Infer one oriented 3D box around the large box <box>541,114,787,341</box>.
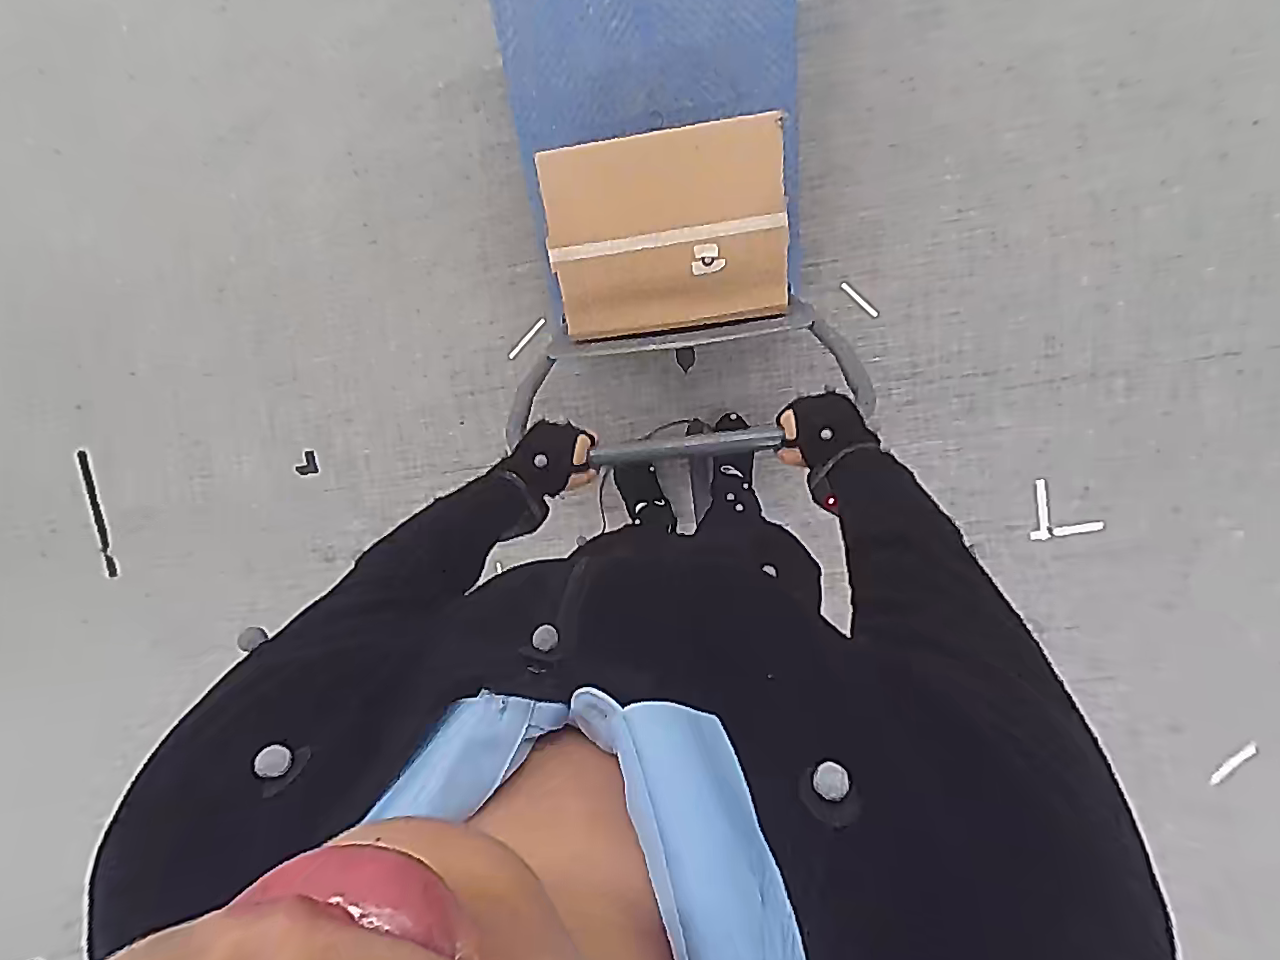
[{"bbox_3d":[0.055,-0.490,1.084,0.408,0.320,0.320,-7,116,5],"label":"large box"}]
